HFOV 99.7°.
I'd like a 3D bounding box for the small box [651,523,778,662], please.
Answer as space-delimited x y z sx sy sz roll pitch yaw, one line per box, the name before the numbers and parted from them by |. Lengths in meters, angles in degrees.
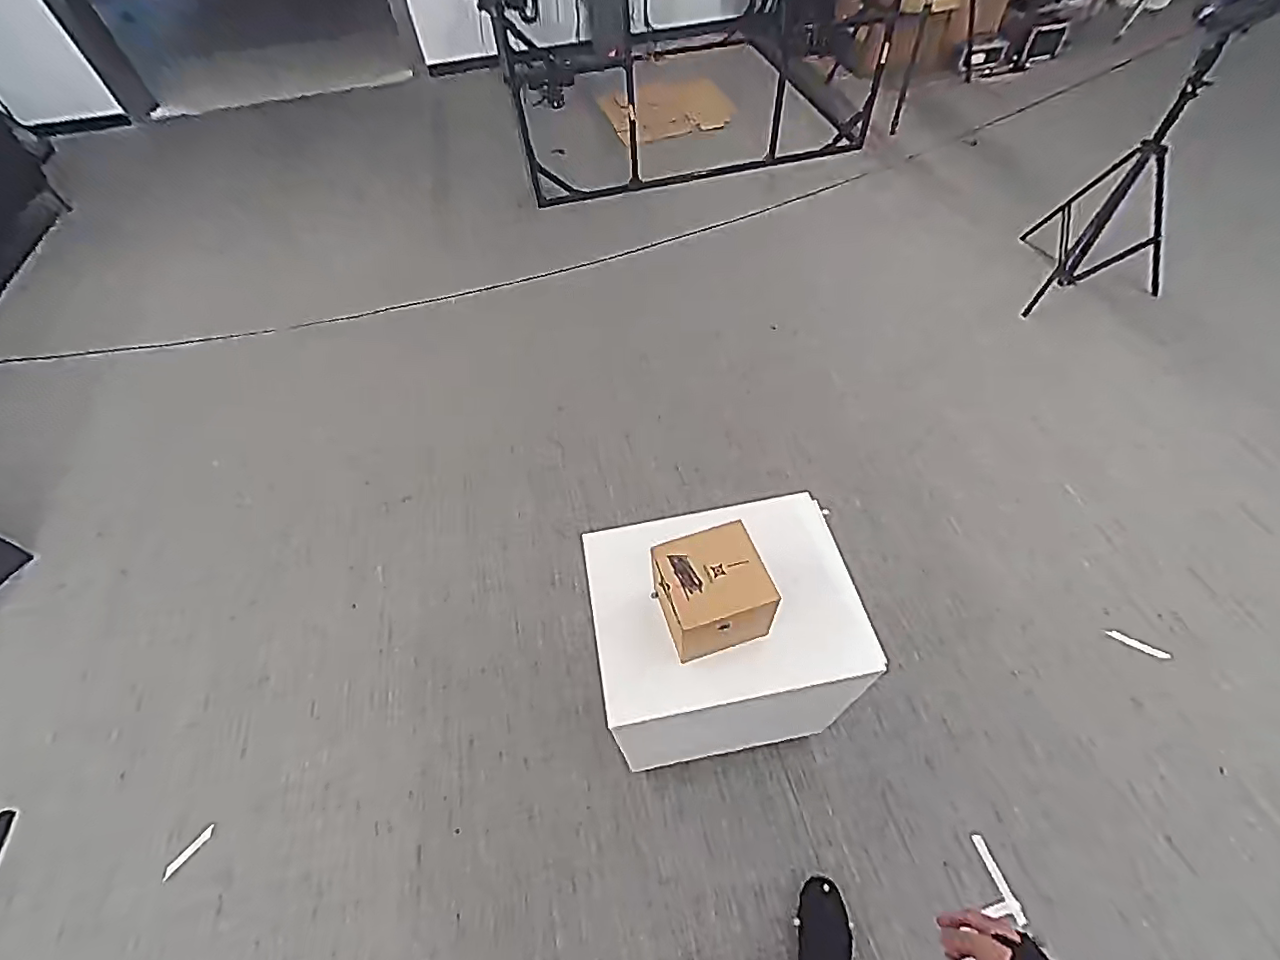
small box | 0.129 0.210 0.984 0.179 0.176 0.168 -16 55 -8
